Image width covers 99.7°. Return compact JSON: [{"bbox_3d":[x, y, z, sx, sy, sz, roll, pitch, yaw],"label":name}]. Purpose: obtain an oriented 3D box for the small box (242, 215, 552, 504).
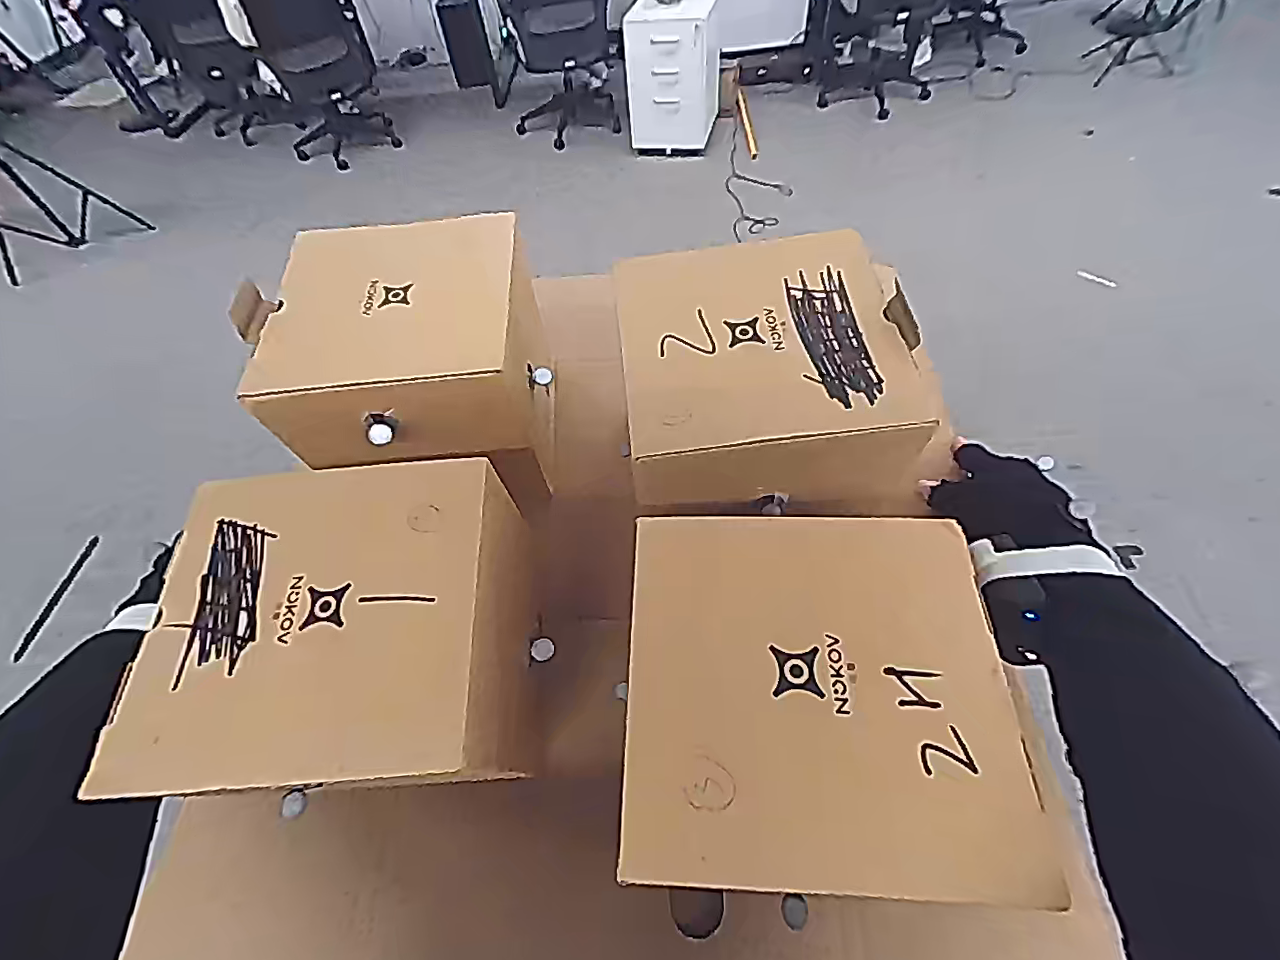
[{"bbox_3d":[-0.176,-0.093,0.461,0.179,0.176,0.168,-6,59,2],"label":"small box"}]
